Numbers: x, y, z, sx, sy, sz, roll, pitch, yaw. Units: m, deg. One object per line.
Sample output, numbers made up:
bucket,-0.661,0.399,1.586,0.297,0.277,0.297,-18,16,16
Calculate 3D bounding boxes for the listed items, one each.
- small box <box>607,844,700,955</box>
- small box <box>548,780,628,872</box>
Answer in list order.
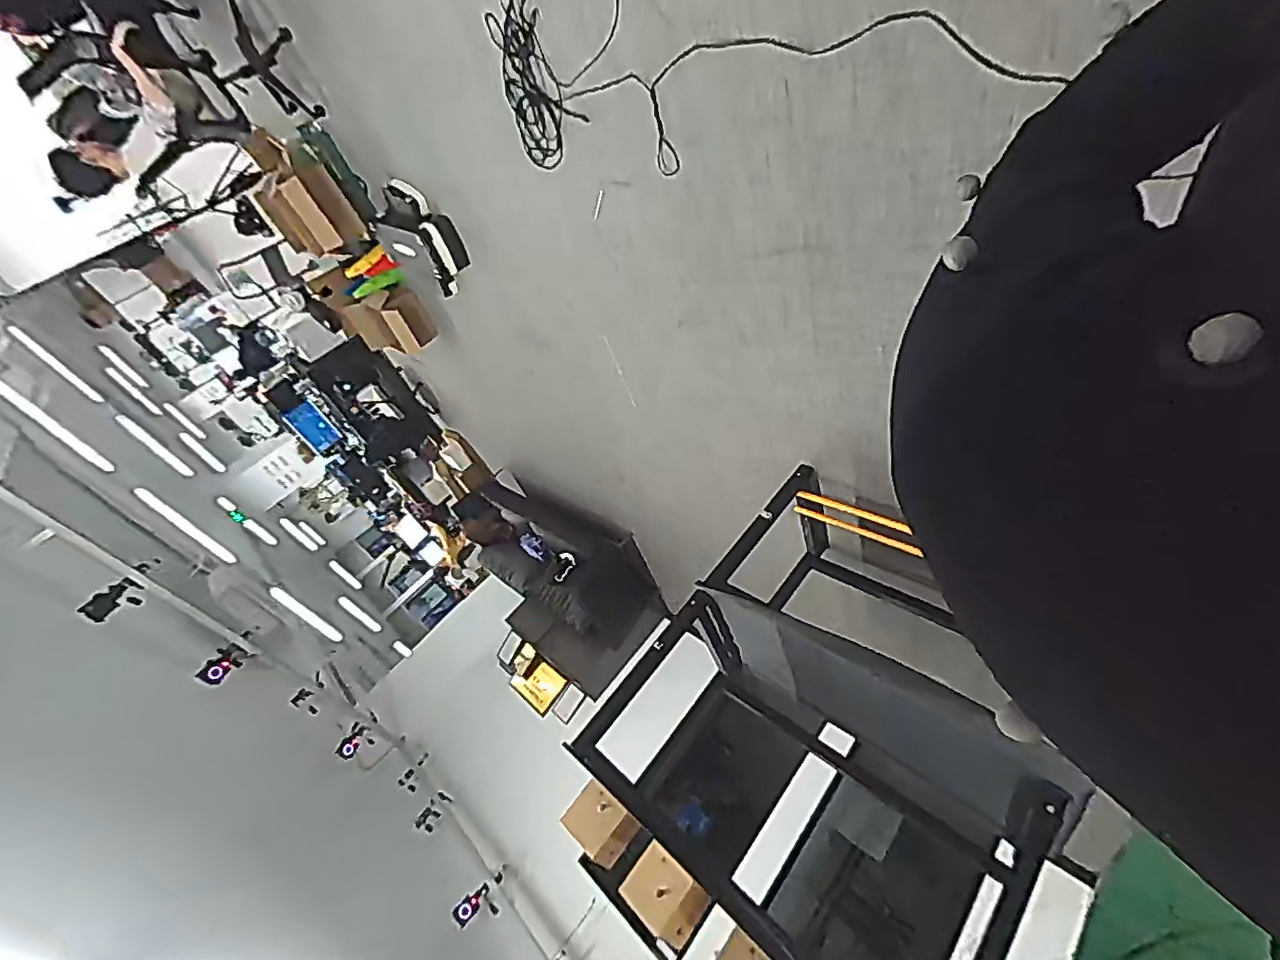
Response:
small box,0.043,1.189,1.543,0.168,0.176,0.179,19,146,46
small box,-0.160,1.110,1.740,0.168,0.176,0.179,26,149,37
